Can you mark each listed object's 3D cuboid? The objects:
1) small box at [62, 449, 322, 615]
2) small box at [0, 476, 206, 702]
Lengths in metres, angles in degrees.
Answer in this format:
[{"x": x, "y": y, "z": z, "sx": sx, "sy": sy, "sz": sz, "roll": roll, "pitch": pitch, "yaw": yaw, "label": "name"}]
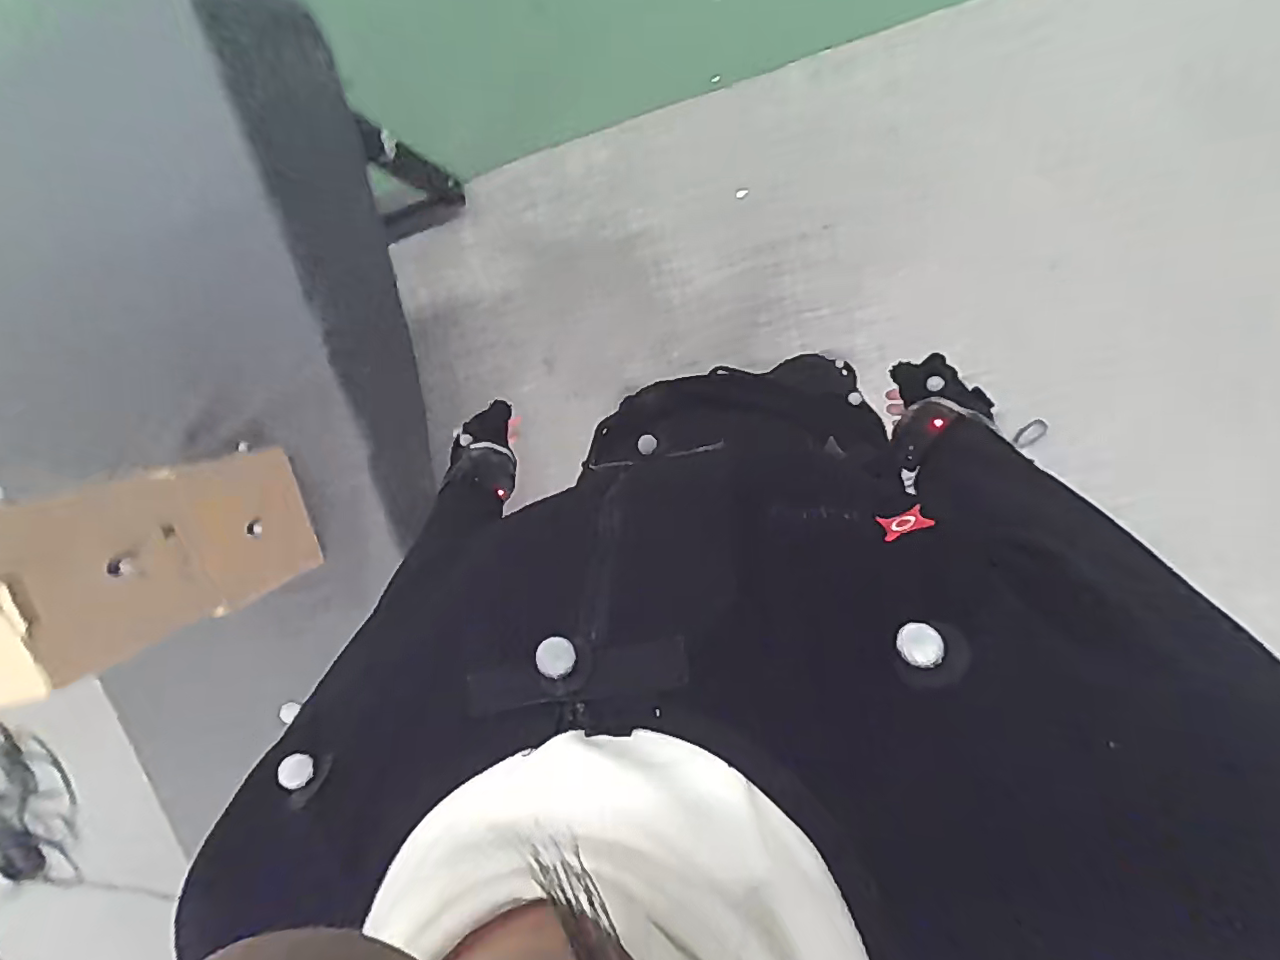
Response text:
[{"x": -0.561, "y": 0.064, "z": 0.701, "sx": 0.168, "sy": 0.176, "sz": 0.179, "roll": -11, "pitch": 102, "yaw": 11, "label": "small box"}, {"x": -0.592, "y": 0.104, "z": 0.545, "sx": 0.179, "sy": 0.176, "sz": 0.168, "roll": -13, "pitch": 101, "yaw": 11, "label": "small box"}]
